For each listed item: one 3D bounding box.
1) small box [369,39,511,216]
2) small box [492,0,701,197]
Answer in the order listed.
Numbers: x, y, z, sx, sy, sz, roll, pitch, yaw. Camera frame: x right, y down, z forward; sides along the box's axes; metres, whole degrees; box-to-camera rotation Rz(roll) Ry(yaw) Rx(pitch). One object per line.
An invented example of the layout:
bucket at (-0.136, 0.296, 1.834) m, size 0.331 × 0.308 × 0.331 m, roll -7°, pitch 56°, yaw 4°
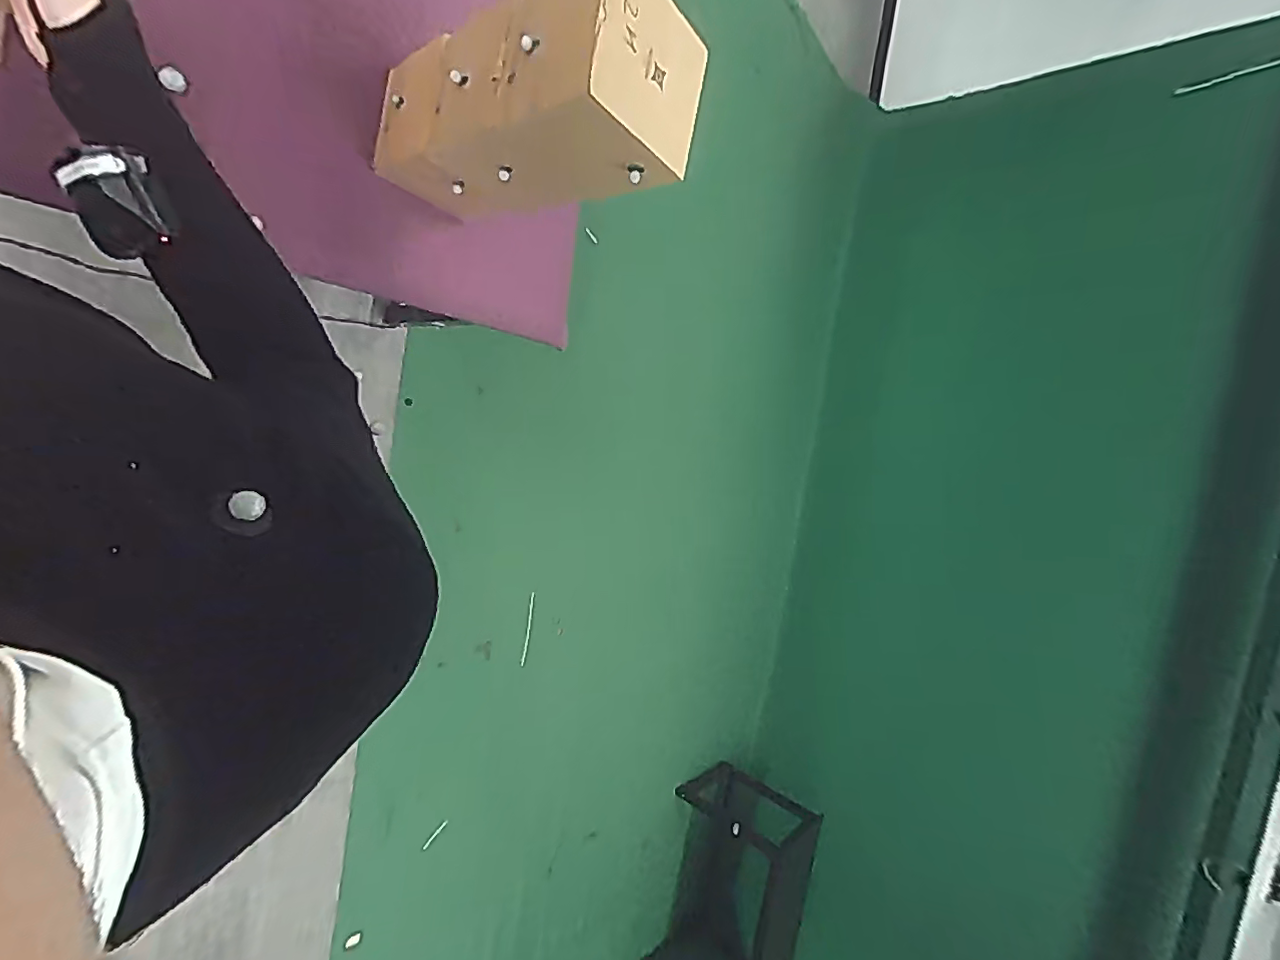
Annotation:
small box at (-0.305, -0.549, 0.877) m, size 0.179 × 0.176 × 0.168 m, roll 9°, pitch 93°, yaw -51°
small box at (-0.053, -0.479, 0.676) m, size 0.179 × 0.176 × 0.168 m, roll 10°, pitch 92°, yaw -51°
